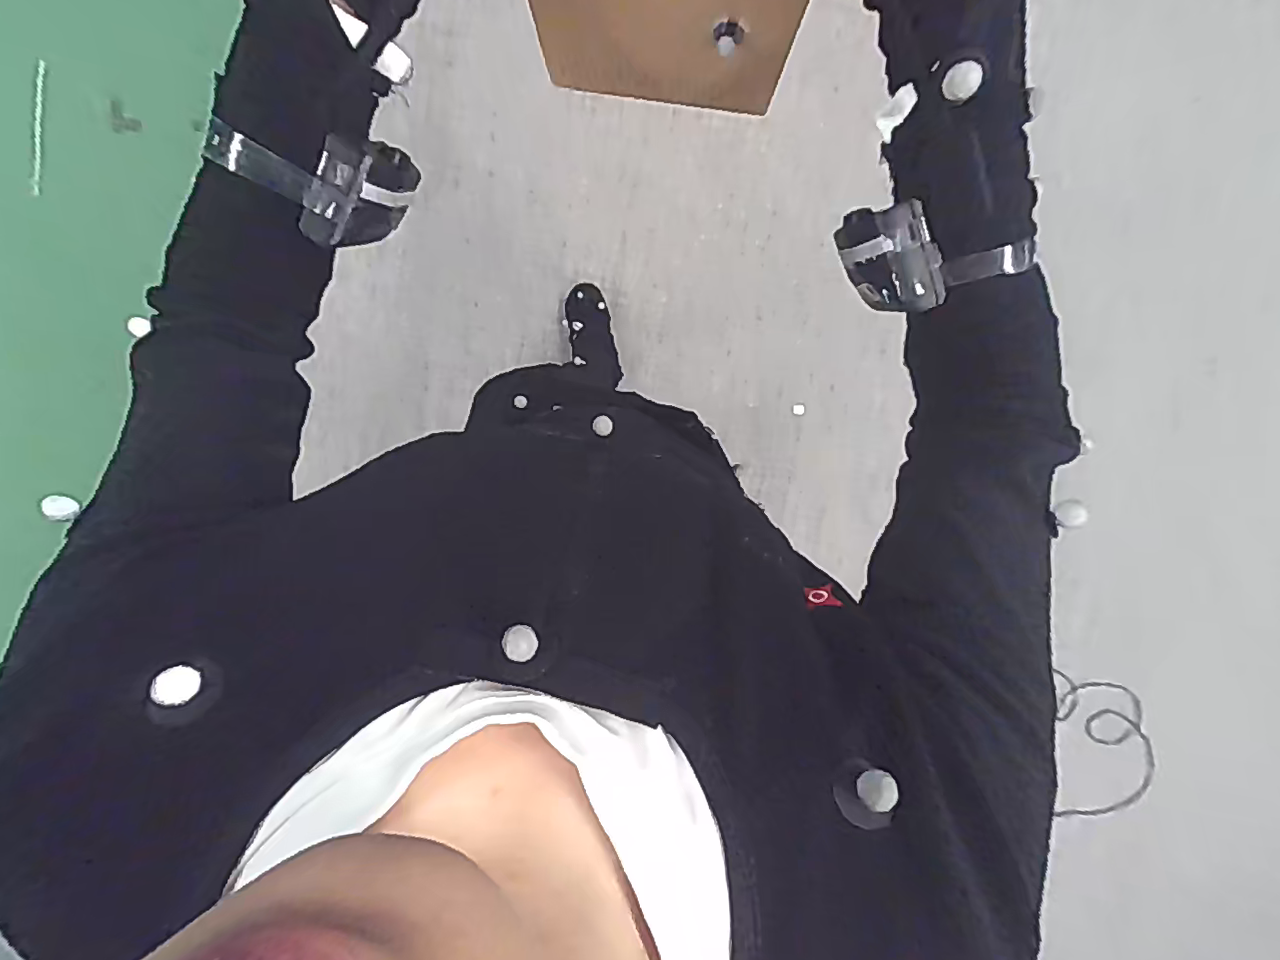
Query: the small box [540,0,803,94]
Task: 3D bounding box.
[{"bbox_3d":[0.027,-0.384,0.344,0.179,0.176,0.168,7,95,1],"label":"small box"}]
